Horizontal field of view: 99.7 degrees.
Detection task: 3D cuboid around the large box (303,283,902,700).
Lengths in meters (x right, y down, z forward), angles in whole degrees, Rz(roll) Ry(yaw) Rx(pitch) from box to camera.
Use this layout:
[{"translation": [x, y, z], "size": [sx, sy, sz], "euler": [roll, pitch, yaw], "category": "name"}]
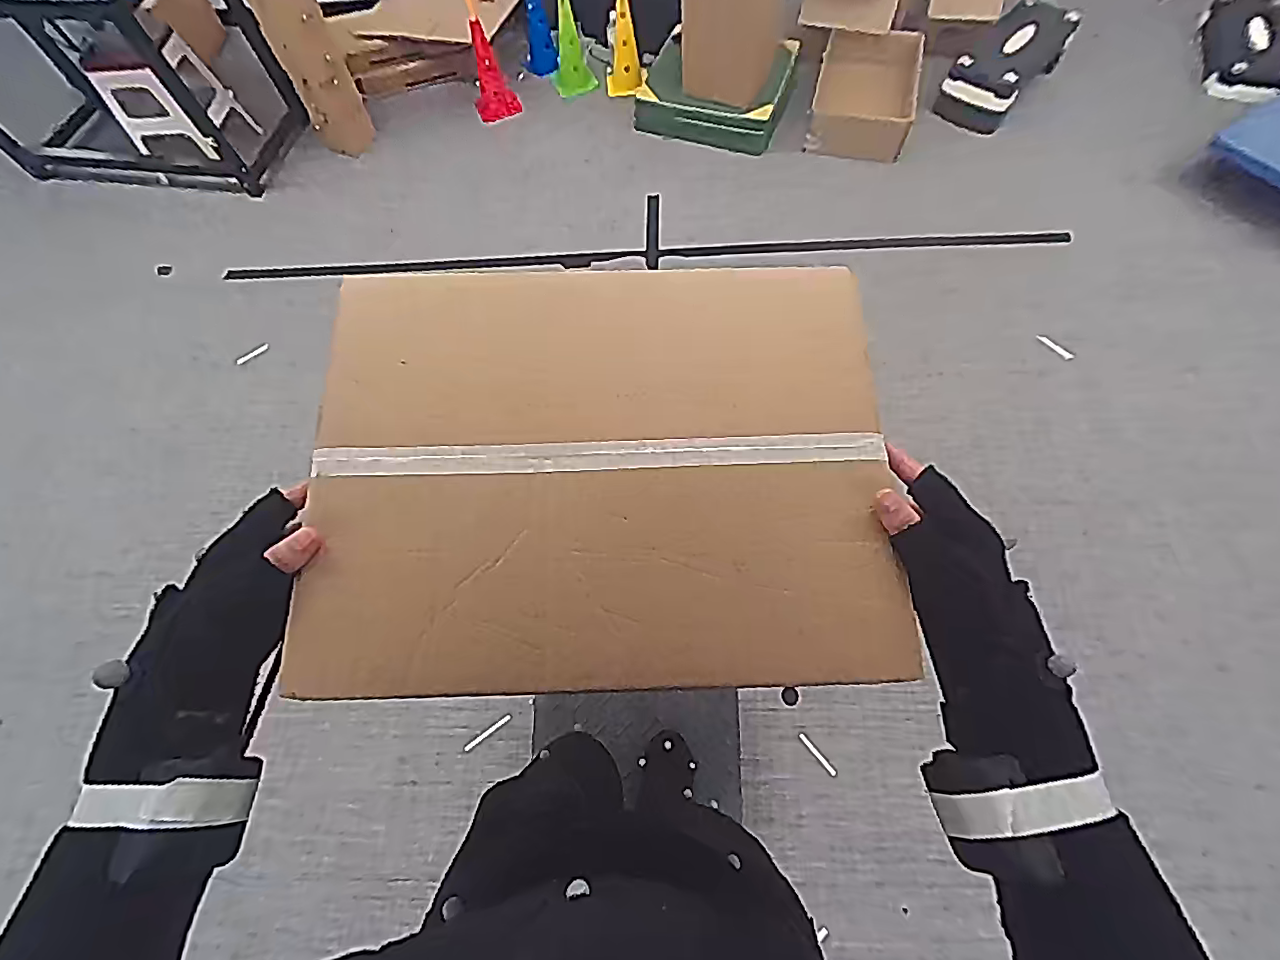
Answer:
[{"translation": [-0.028, 0.031, 0.539], "size": [0.408, 0.320, 0.320], "euler": [-1, 72, -1], "category": "large box"}]
